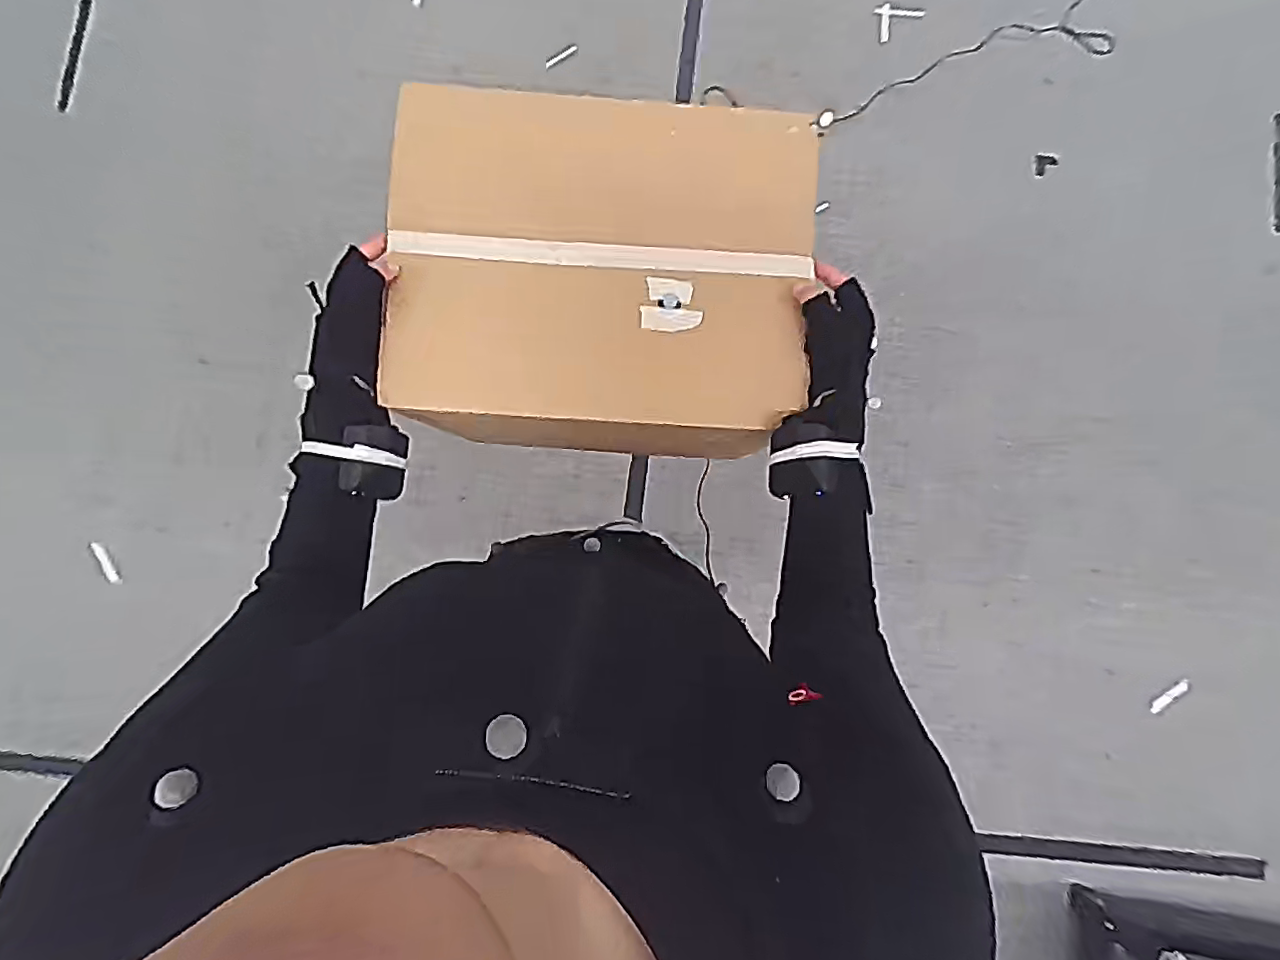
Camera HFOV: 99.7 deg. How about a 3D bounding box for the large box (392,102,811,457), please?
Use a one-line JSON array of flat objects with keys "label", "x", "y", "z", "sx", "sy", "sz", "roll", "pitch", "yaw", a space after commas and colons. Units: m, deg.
[{"label": "large box", "x": -0.041, "y": -0.202, "z": 0.676, "sx": 0.408, "sy": 0.320, "sz": 0.320, "roll": 4, "pitch": 88, "yaw": -2}]
